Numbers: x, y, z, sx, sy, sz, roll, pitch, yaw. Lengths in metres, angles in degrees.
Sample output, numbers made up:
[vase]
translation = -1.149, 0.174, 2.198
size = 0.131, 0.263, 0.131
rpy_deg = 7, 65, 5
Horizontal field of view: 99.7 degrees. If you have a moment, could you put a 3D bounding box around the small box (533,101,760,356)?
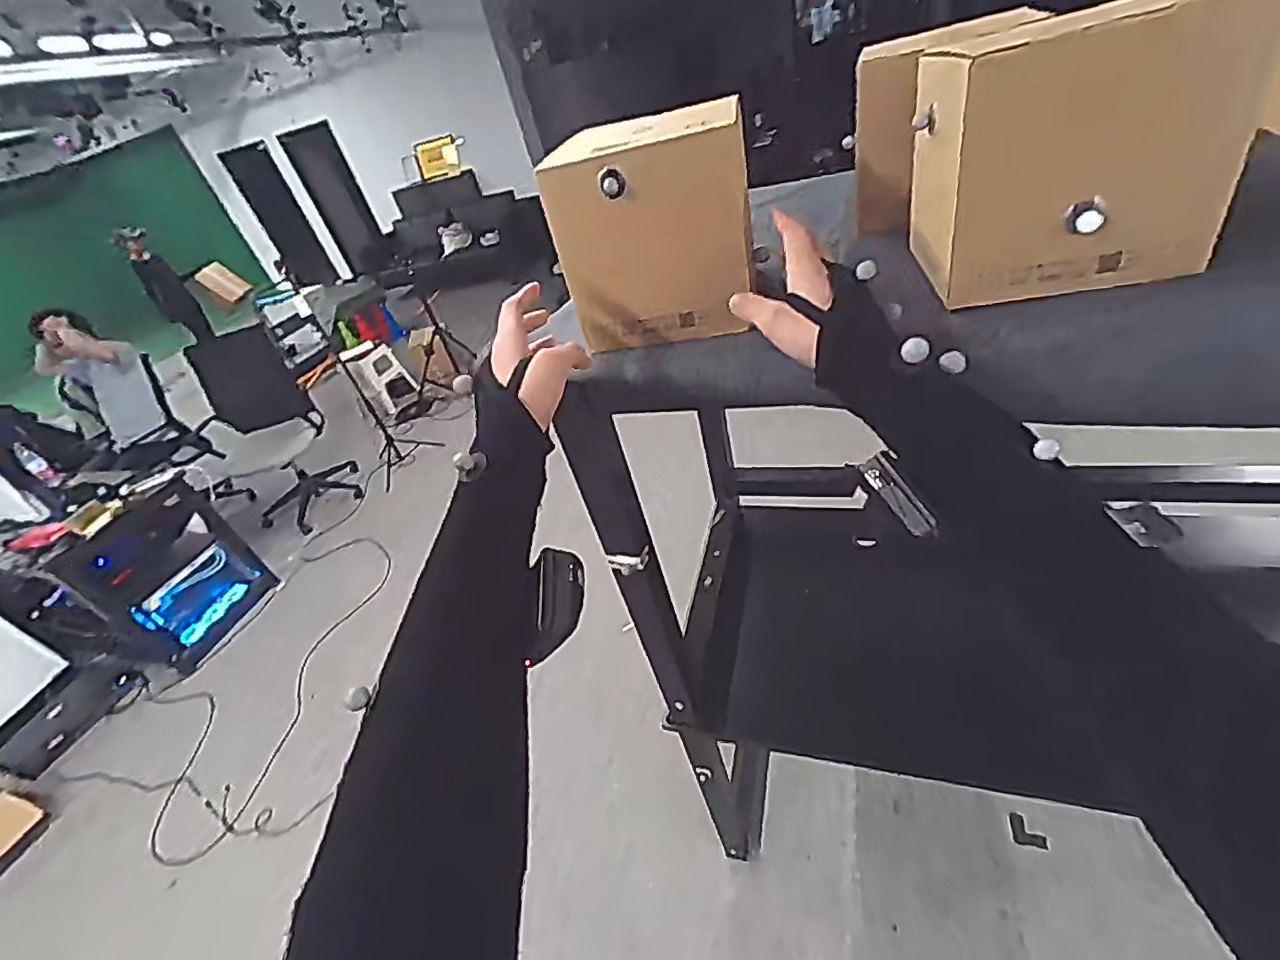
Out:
[small box]
translation = 0.023, -0.239, 0.521
size = 0.168, 0.176, 0.179
rpy_deg = -5, 38, 16
